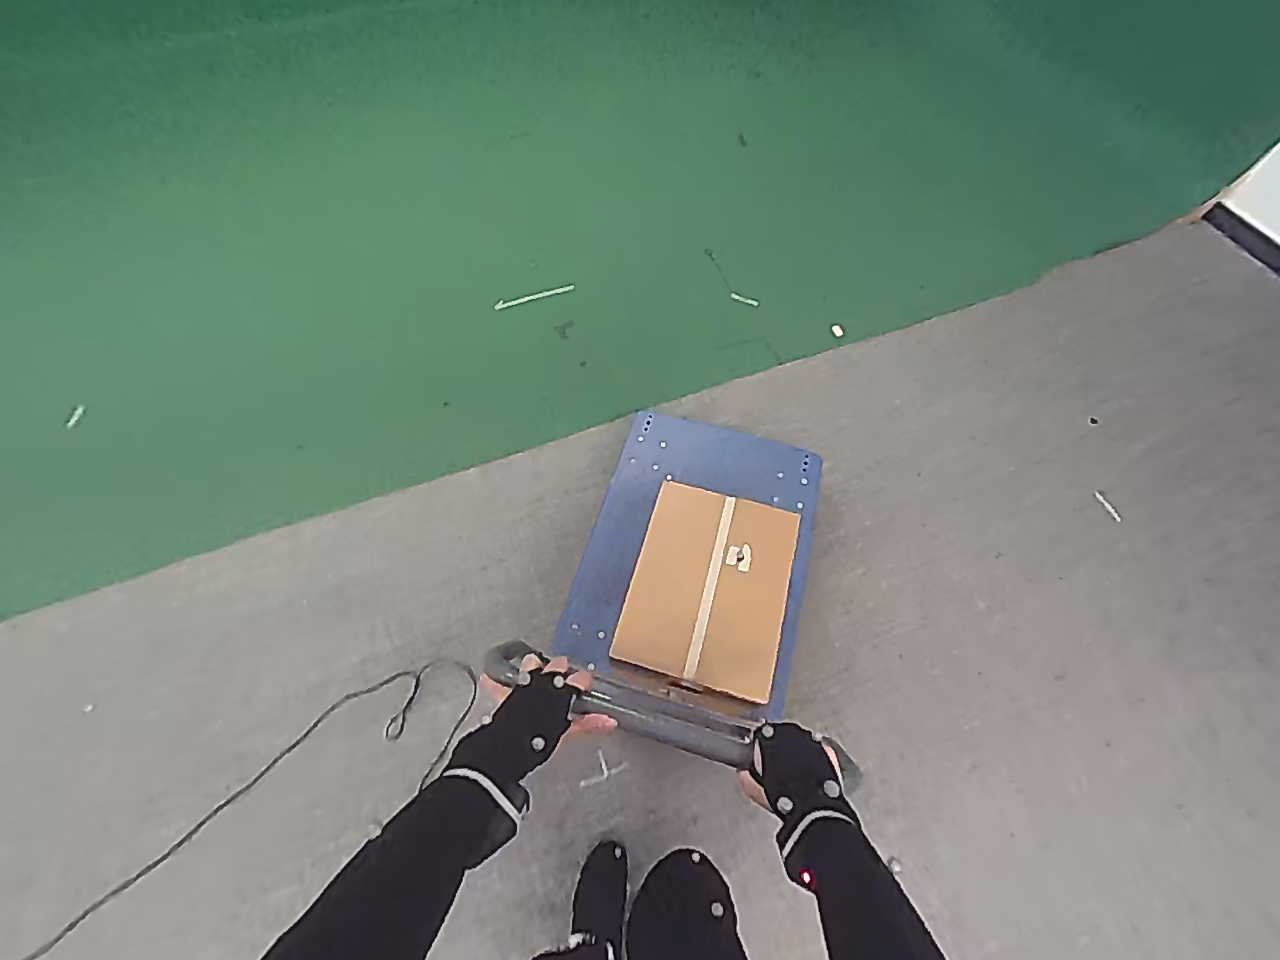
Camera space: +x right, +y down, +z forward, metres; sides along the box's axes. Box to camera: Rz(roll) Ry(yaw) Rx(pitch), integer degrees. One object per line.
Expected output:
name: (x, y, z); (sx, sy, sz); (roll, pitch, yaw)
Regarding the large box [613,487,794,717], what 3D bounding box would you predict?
large box: (0.145, 0.290, 1.258); (0.320, 0.320, 0.408); (15, 62, 7)
